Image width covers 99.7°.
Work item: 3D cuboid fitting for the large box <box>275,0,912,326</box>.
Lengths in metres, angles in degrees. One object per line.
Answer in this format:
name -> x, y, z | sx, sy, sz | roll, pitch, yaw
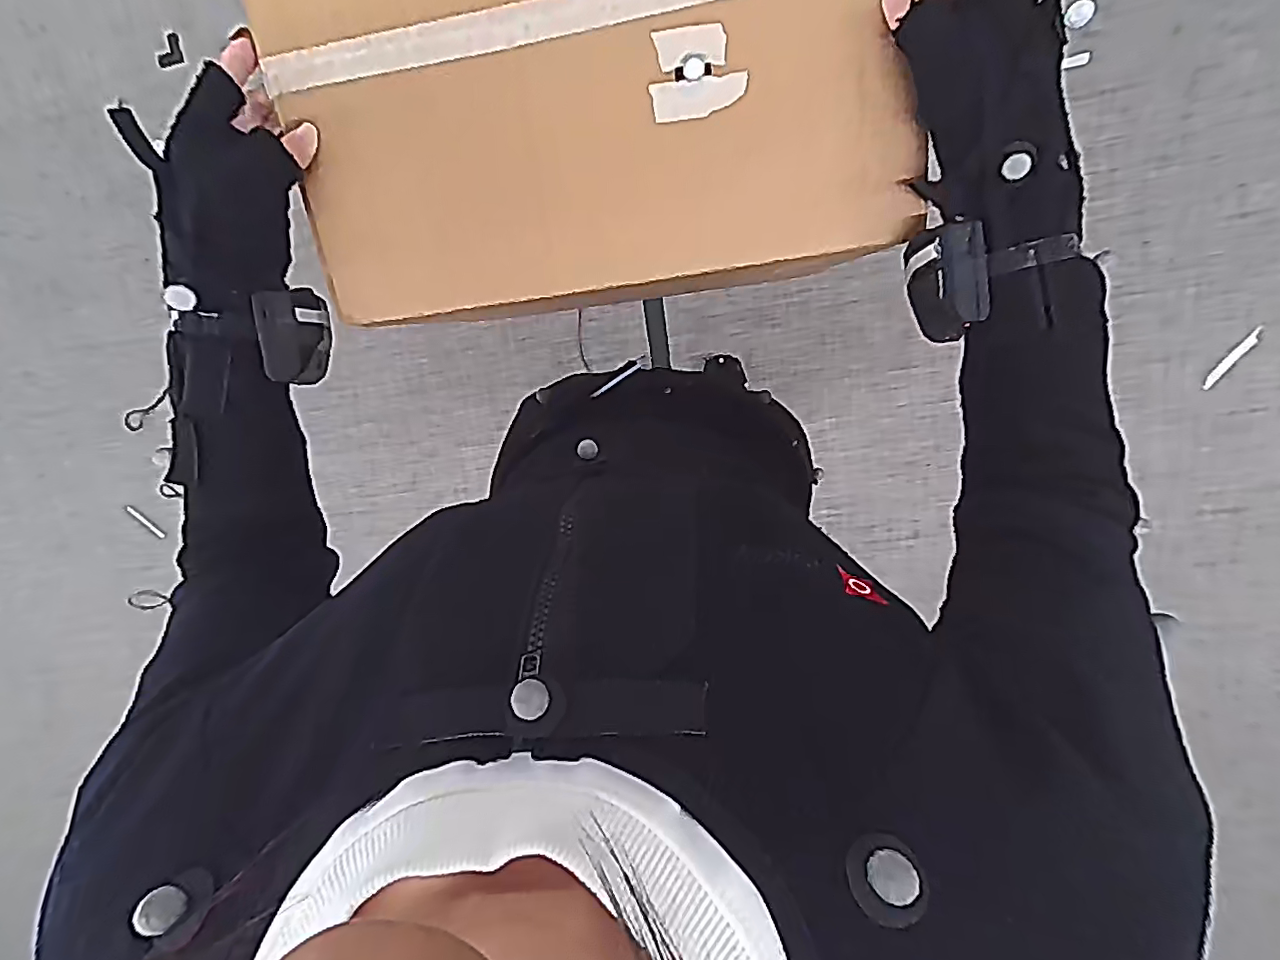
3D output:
large box -> -0.027, -0.329, 0.486 | 0.408, 0.320, 0.320 | -7, 107, 6
